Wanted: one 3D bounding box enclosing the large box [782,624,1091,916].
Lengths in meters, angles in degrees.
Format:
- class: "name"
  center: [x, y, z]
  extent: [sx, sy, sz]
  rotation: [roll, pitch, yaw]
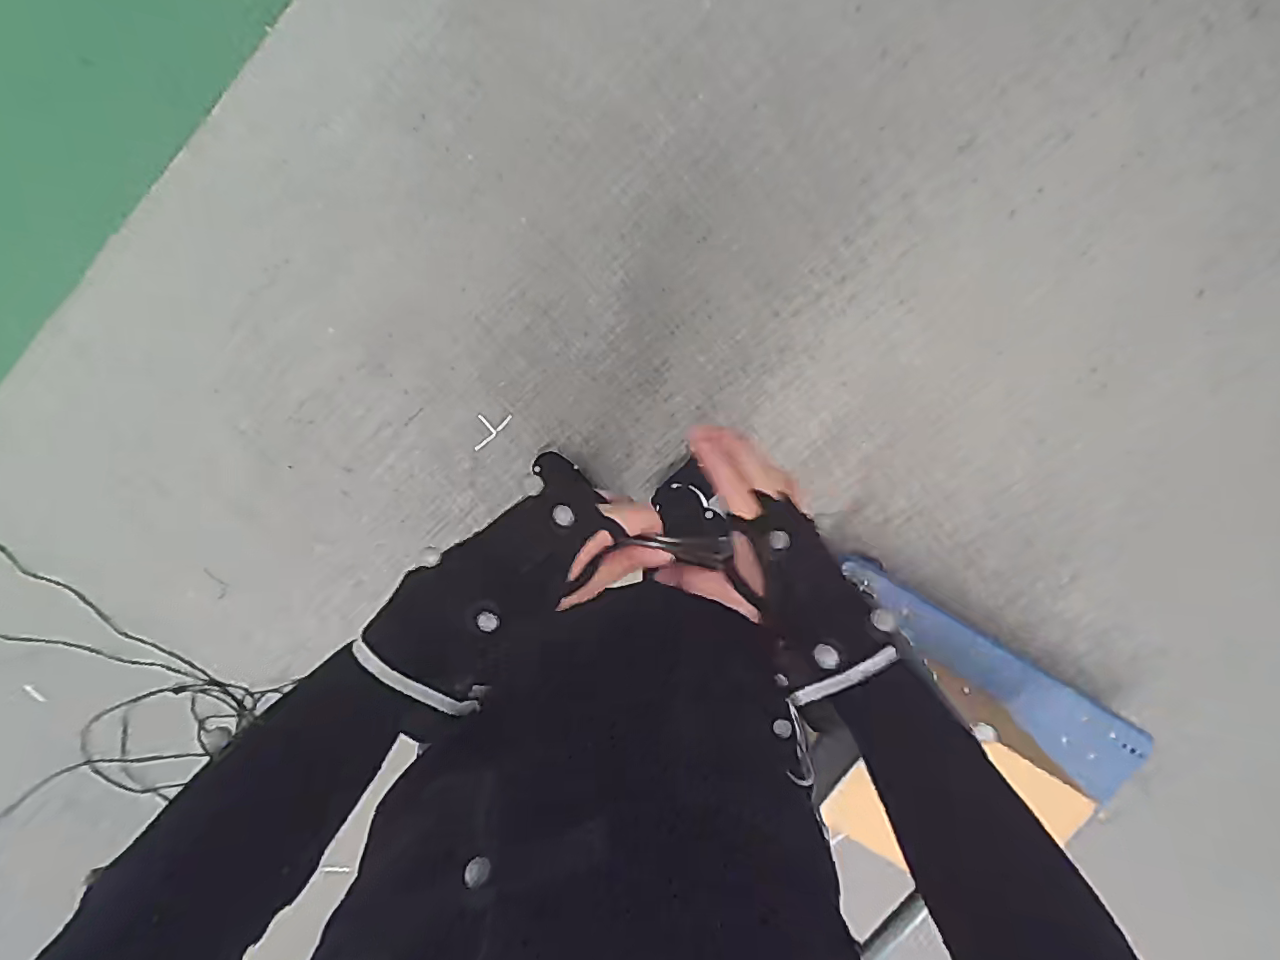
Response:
- class: "large box"
  center: [0.574, 0.578, 1.136]
  extent: [0.408, 0.320, 0.320]
  rotation: [32, 103, -3]
